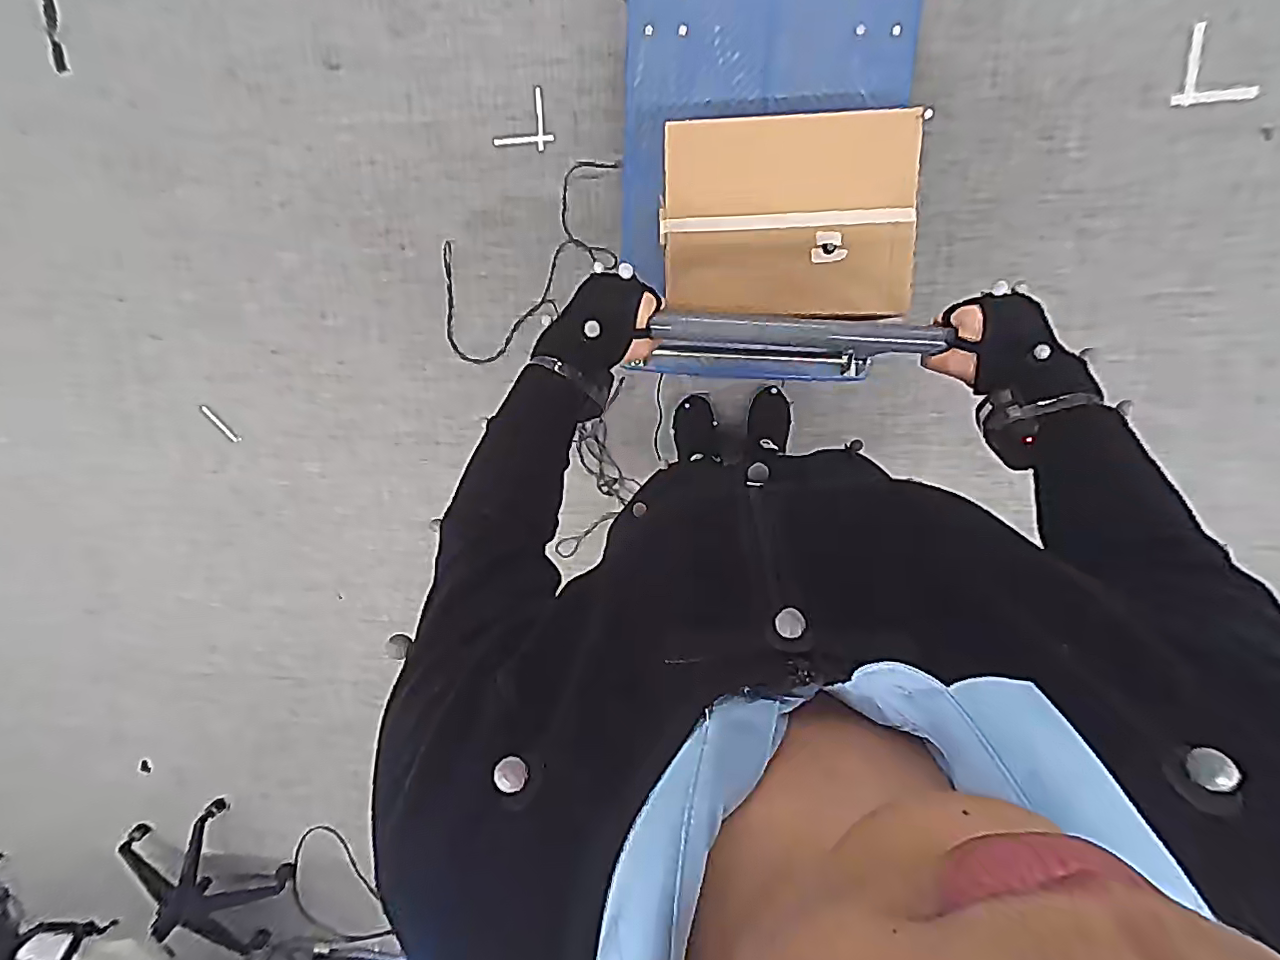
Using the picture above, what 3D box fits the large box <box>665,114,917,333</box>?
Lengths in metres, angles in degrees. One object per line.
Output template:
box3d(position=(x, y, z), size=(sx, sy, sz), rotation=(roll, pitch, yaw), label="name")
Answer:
box3d(position=(0.254, -0.458, 1.045), size=(0.408, 0.320, 0.320), rotation=(0, 103, 4), label="large box")
